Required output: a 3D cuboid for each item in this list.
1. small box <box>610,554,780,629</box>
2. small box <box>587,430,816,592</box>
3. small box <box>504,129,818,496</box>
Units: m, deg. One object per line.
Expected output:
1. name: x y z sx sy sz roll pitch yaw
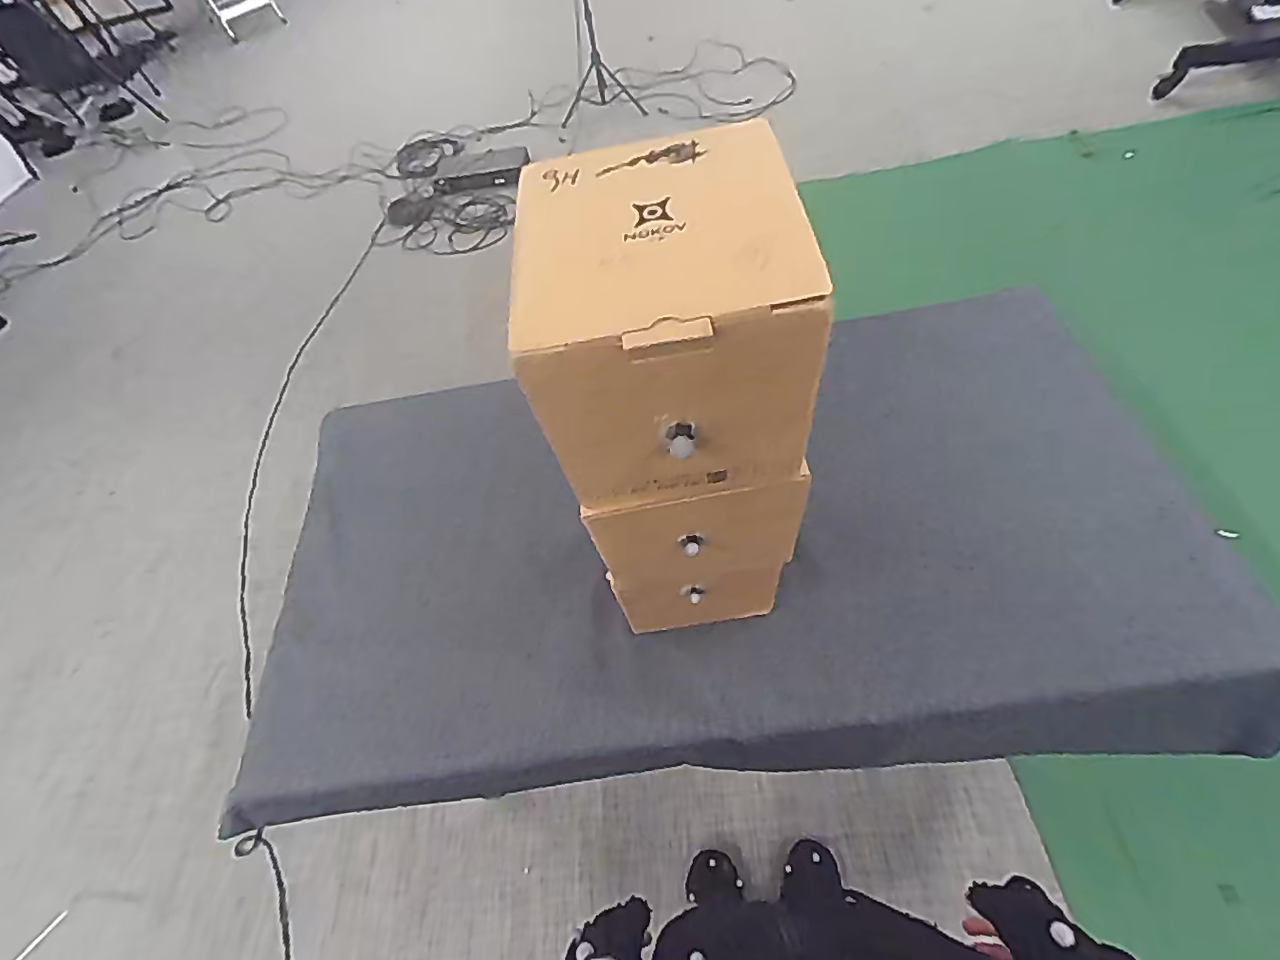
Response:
1. small box: 0.059 0.071 0.656 0.179 0.176 0.168 -9 58 3
2. small box: 0.044 -0.010 0.514 0.179 0.176 0.168 -13 58 1
3. small box: 0.017 -0.100 0.380 0.168 0.176 0.179 -8 59 6
